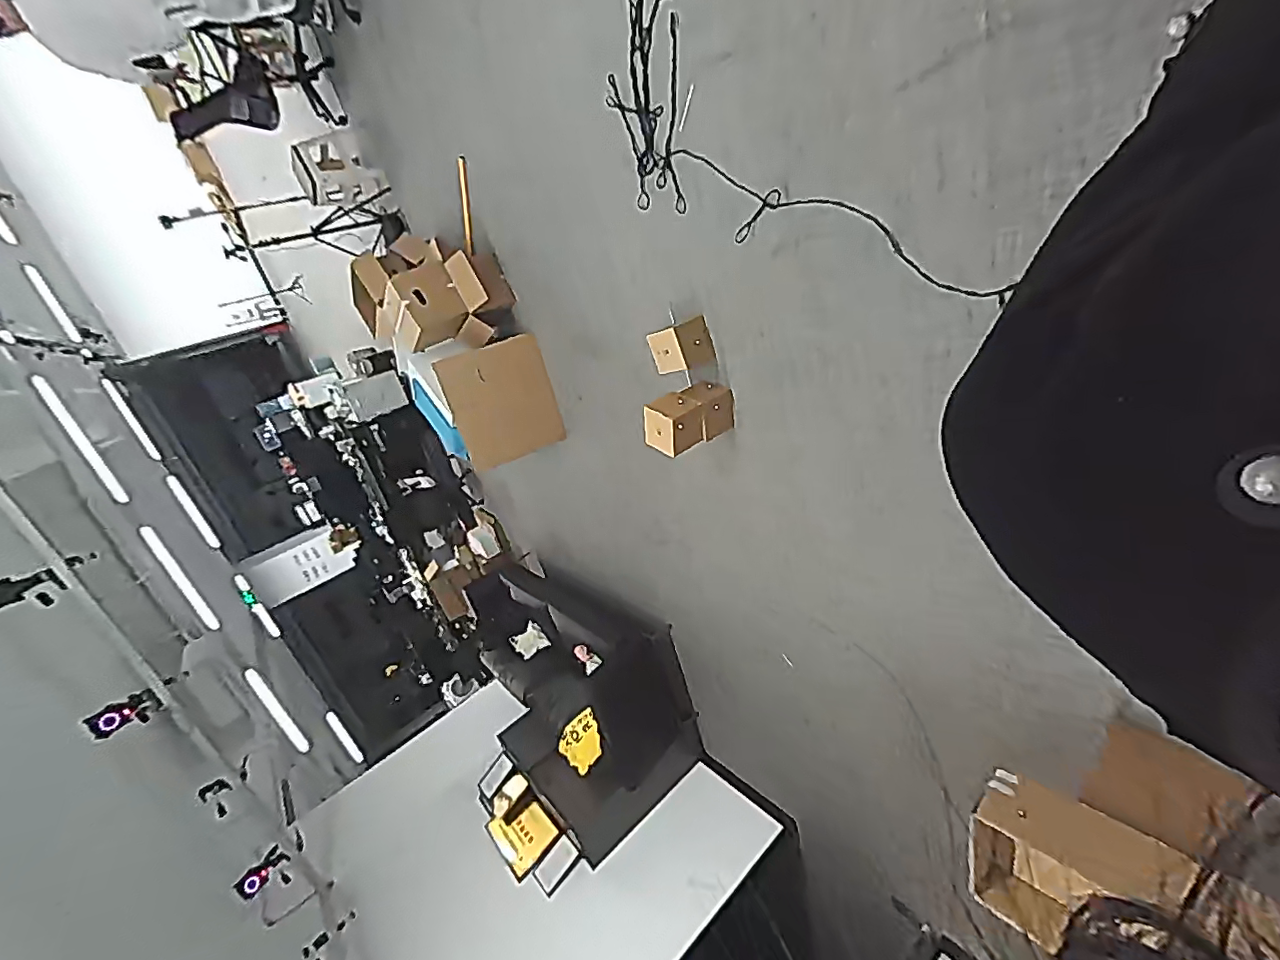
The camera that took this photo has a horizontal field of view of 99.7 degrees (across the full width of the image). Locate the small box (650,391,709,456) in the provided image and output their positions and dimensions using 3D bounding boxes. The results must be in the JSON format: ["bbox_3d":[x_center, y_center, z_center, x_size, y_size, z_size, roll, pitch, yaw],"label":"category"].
[{"bbox_3d":[0.158,-0.228,2.141,0.168,0.176,0.179,32,139,40],"label":"small box"}]

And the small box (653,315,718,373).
[{"bbox_3d":[0.186,-0.541,2.140,0.179,0.176,0.168,4,120,56],"label":"small box"}]
